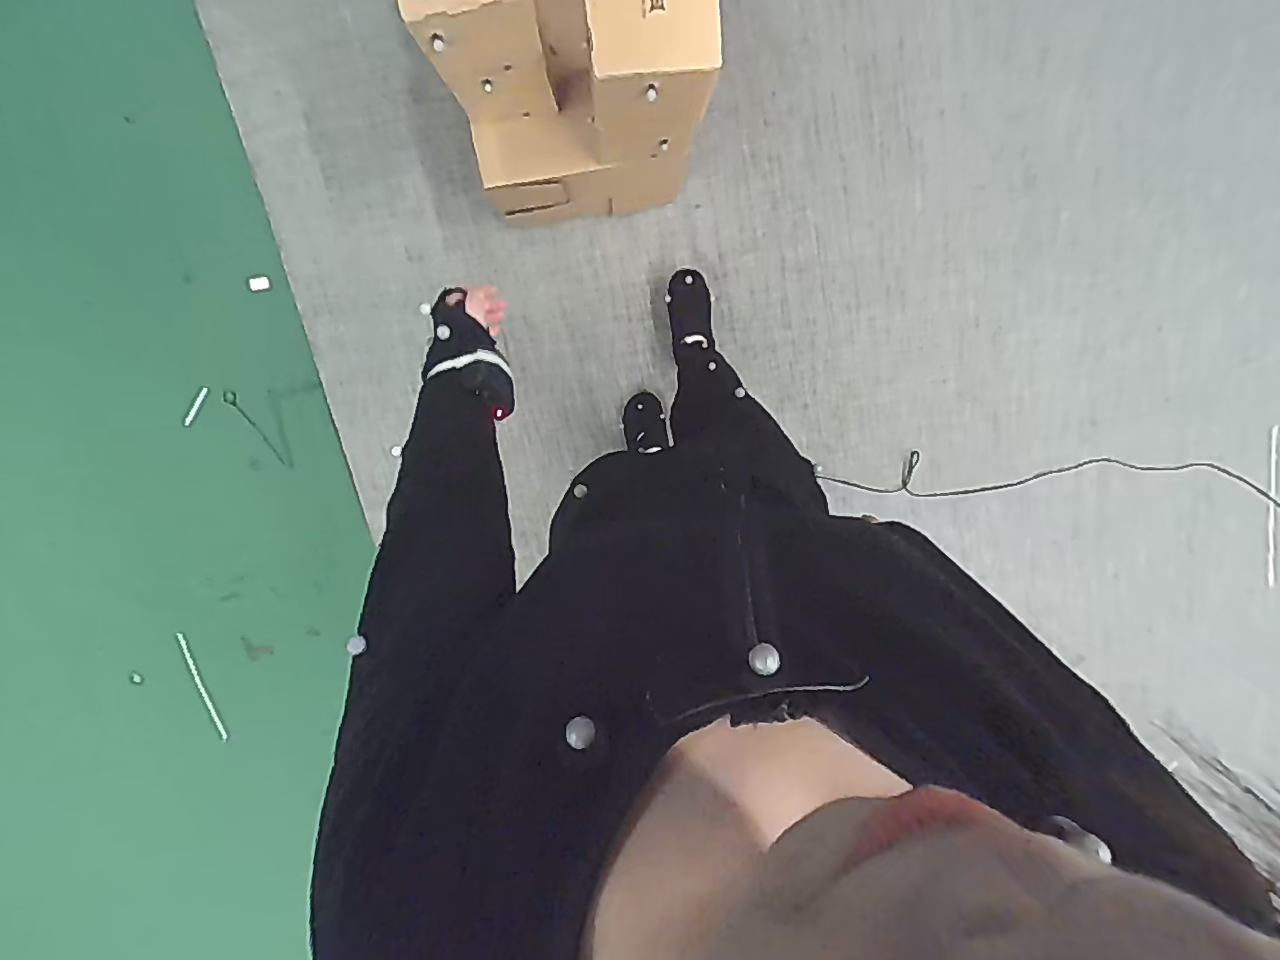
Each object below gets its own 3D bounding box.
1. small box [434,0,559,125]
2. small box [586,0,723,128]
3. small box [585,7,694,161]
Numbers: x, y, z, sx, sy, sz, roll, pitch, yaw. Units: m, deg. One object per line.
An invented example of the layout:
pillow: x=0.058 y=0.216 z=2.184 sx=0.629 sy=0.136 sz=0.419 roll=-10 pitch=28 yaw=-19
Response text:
small box: x=-0.238 y=-0.745 z=0.921 sx=0.168 sy=0.176 sz=0.179 roll=-6 pitch=101 yaw=2
small box: x=0.015 y=-0.637 z=0.780 sx=0.179 sy=0.176 sz=0.168 roll=-5 pitch=102 yaw=0
small box: x=0.000 y=-0.677 z=0.938 sx=0.168 sy=0.176 sz=0.179 roll=-6 pitch=101 yaw=-1
